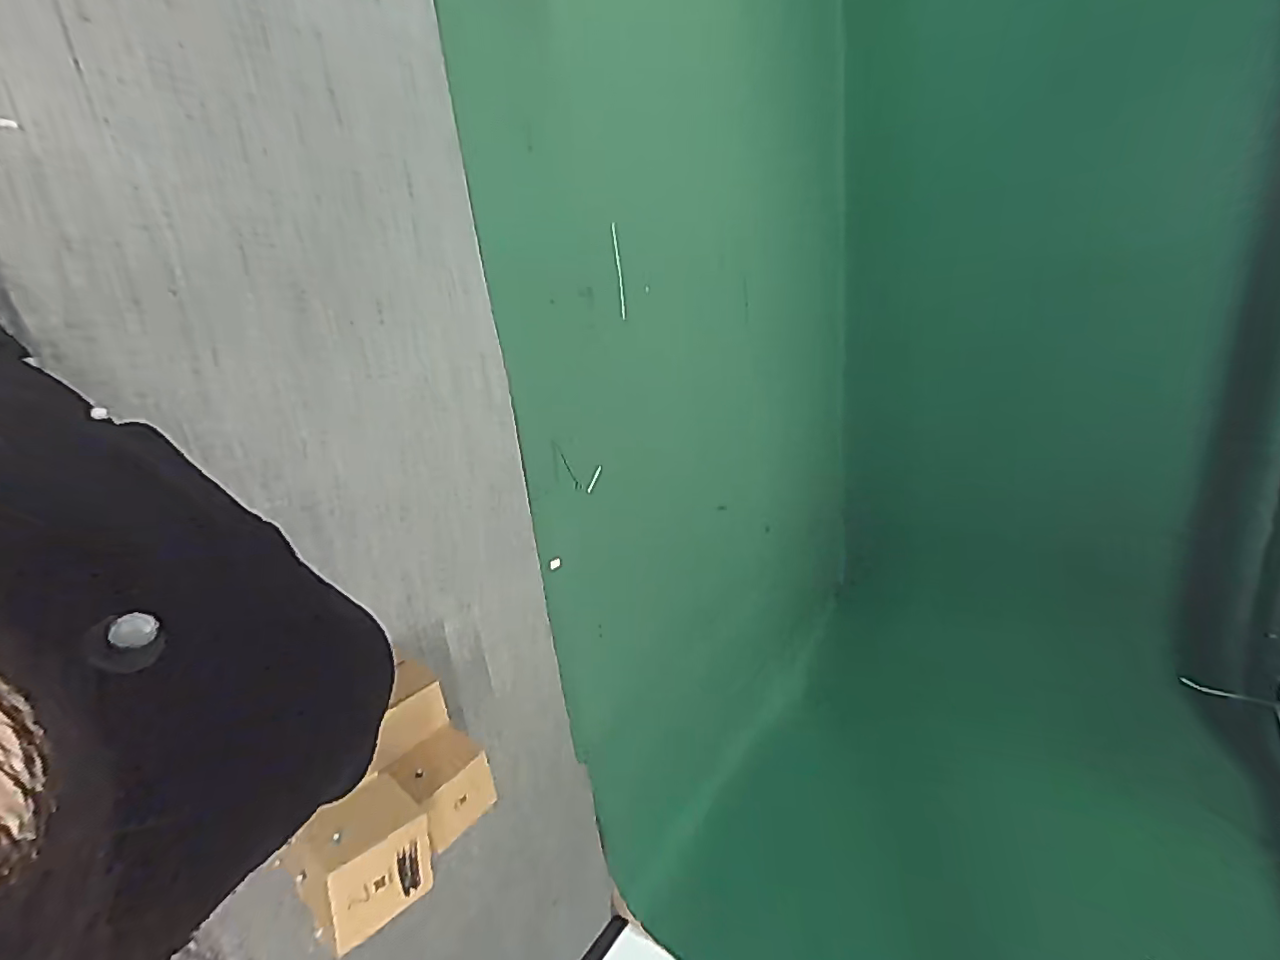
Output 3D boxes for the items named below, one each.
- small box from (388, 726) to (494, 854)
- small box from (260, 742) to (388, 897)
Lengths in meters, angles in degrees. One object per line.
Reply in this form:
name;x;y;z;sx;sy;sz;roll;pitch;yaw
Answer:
small box;-0.492;0.748;1.325;0.179;0.176;0.168;-28;119;-46
small box;-0.649;0.684;1.114;0.168;0.176;0.179;-20;112;-47
